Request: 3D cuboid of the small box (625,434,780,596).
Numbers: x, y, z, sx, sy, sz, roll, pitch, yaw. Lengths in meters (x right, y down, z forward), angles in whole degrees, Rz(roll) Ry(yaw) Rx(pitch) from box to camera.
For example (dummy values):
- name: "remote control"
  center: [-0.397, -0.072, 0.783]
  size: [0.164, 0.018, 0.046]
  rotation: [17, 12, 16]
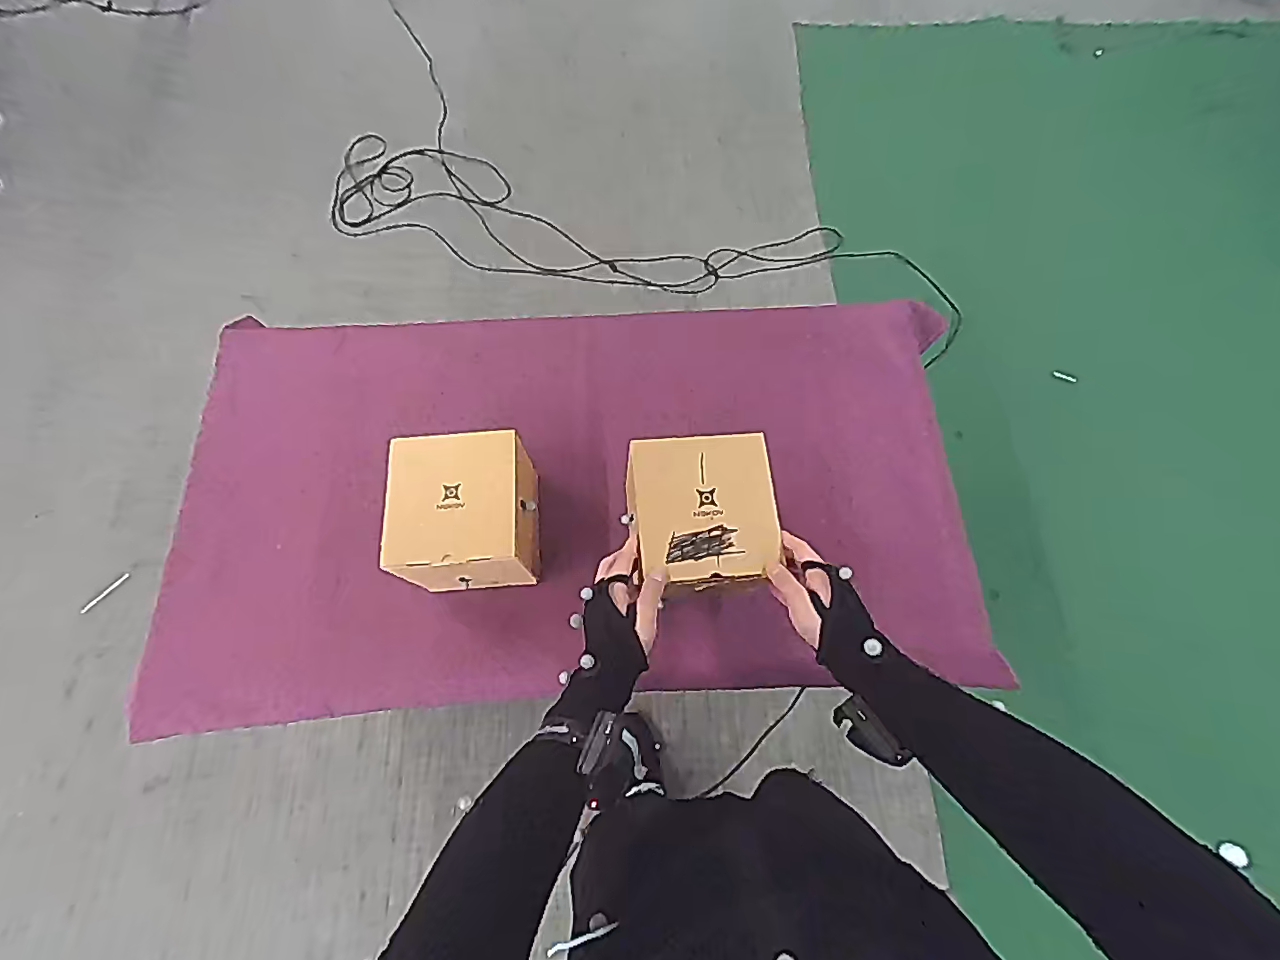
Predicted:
- name: "small box"
  center: [0.068, 0.054, 0.703]
  size: [0.168, 0.176, 0.179]
  rotation: [-3, 71, -5]

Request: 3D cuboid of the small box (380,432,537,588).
- name: "small box"
  center: [-0.241, 0.048, 0.760]
  size: [0.168, 0.176, 0.179]
  rotation: [-3, 71, -2]
